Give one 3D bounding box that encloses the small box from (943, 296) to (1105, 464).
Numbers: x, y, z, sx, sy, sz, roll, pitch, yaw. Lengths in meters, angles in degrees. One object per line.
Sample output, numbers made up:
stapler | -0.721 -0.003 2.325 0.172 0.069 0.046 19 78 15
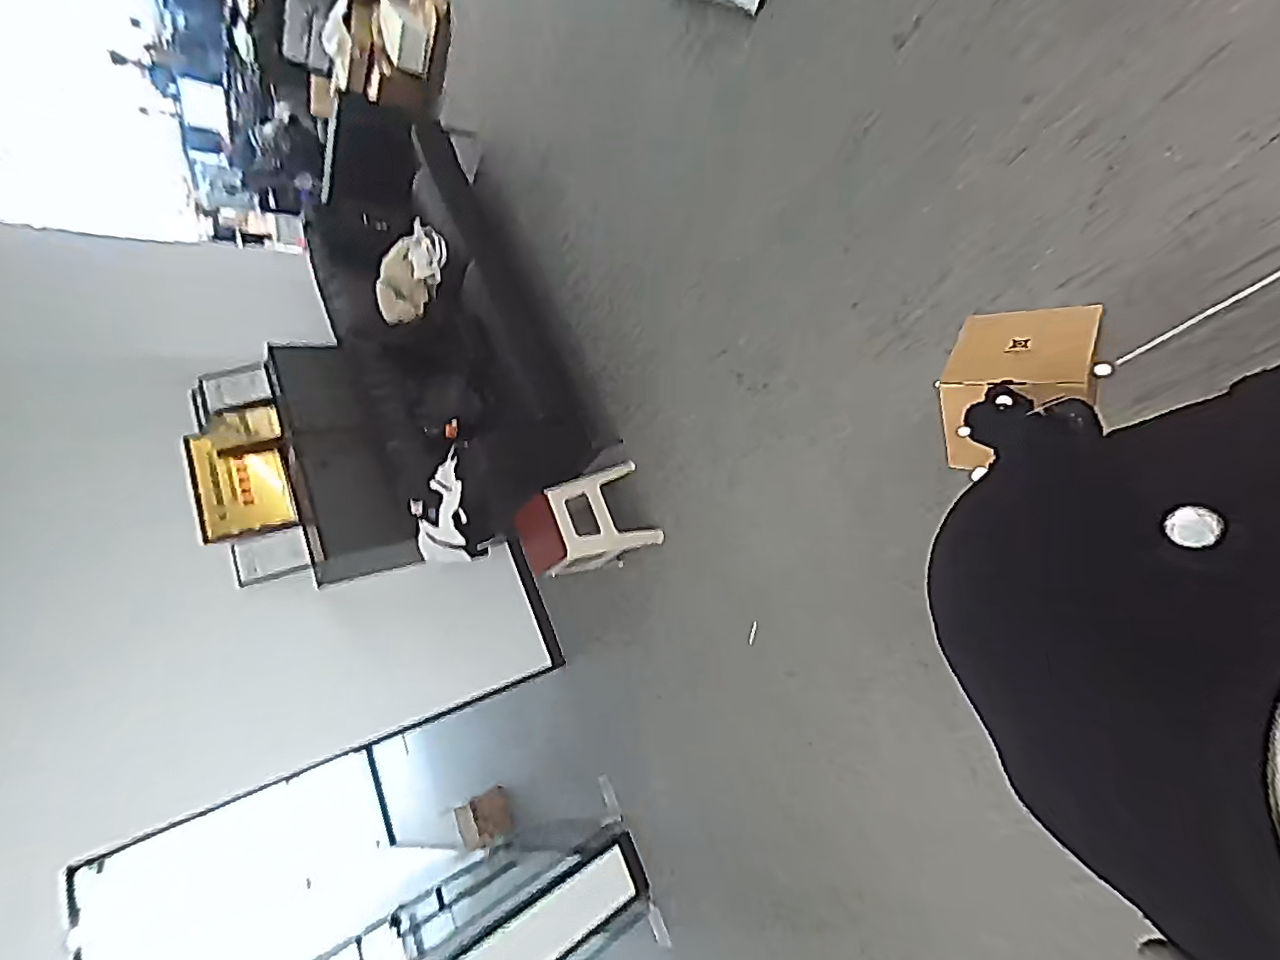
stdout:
small box | 0.570 -0.148 0.808 0.168 0.179 0.176 9 142 41
